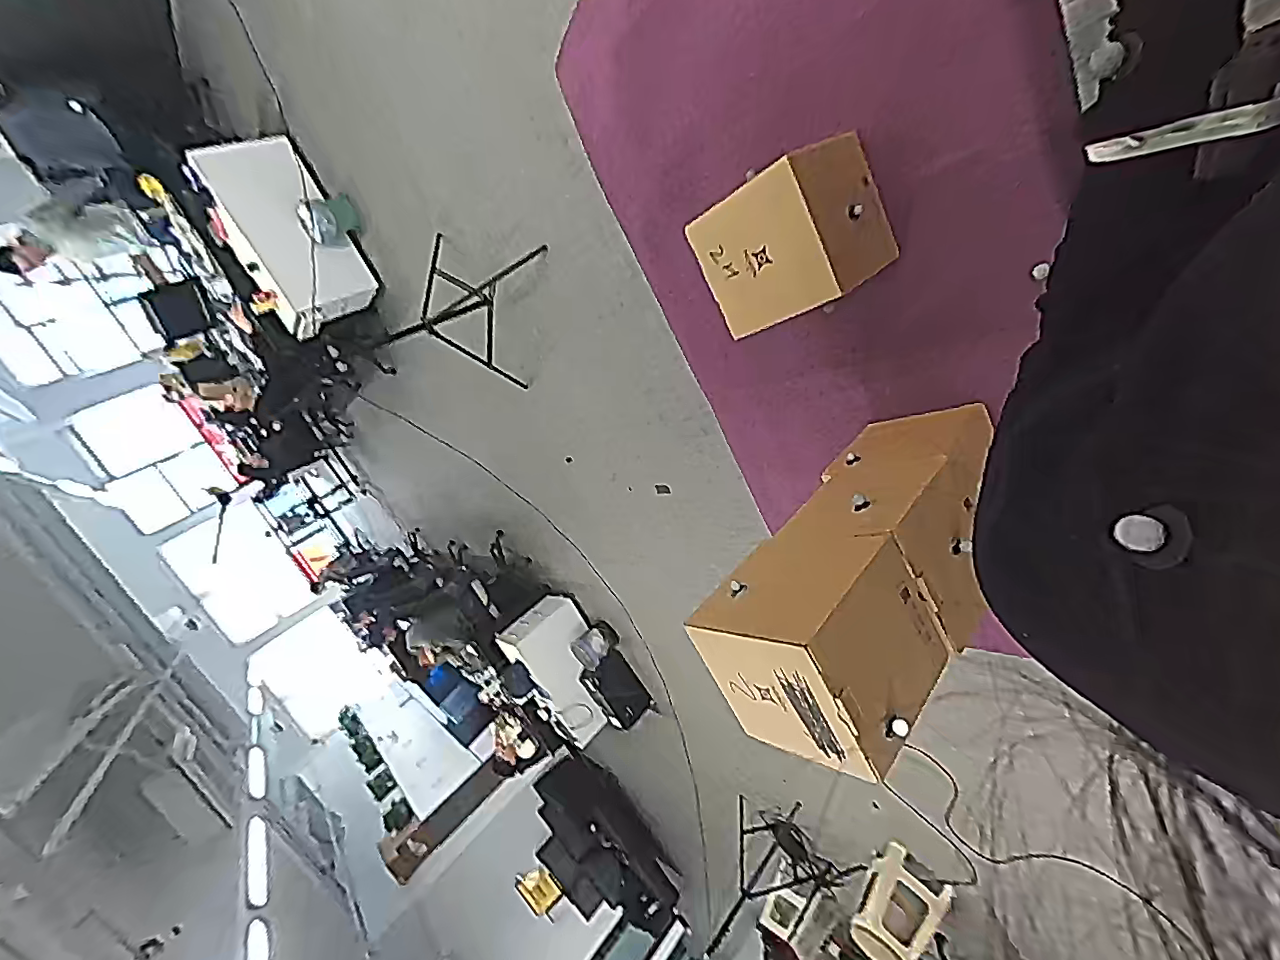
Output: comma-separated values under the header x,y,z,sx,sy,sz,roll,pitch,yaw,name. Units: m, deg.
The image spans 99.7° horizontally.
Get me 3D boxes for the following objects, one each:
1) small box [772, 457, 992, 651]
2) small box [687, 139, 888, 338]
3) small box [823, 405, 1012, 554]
x,y,z,sx,sy,sz,roll,pitch,yaw,name
0.308,0.088,0.678,0.179,0.176,0.168,-17,107,56,small box
0.203,-0.318,0.720,0.179,0.176,0.168,-8,114,54,small box
0.407,0.009,0.783,0.179,0.176,0.168,-9,114,55,small box
